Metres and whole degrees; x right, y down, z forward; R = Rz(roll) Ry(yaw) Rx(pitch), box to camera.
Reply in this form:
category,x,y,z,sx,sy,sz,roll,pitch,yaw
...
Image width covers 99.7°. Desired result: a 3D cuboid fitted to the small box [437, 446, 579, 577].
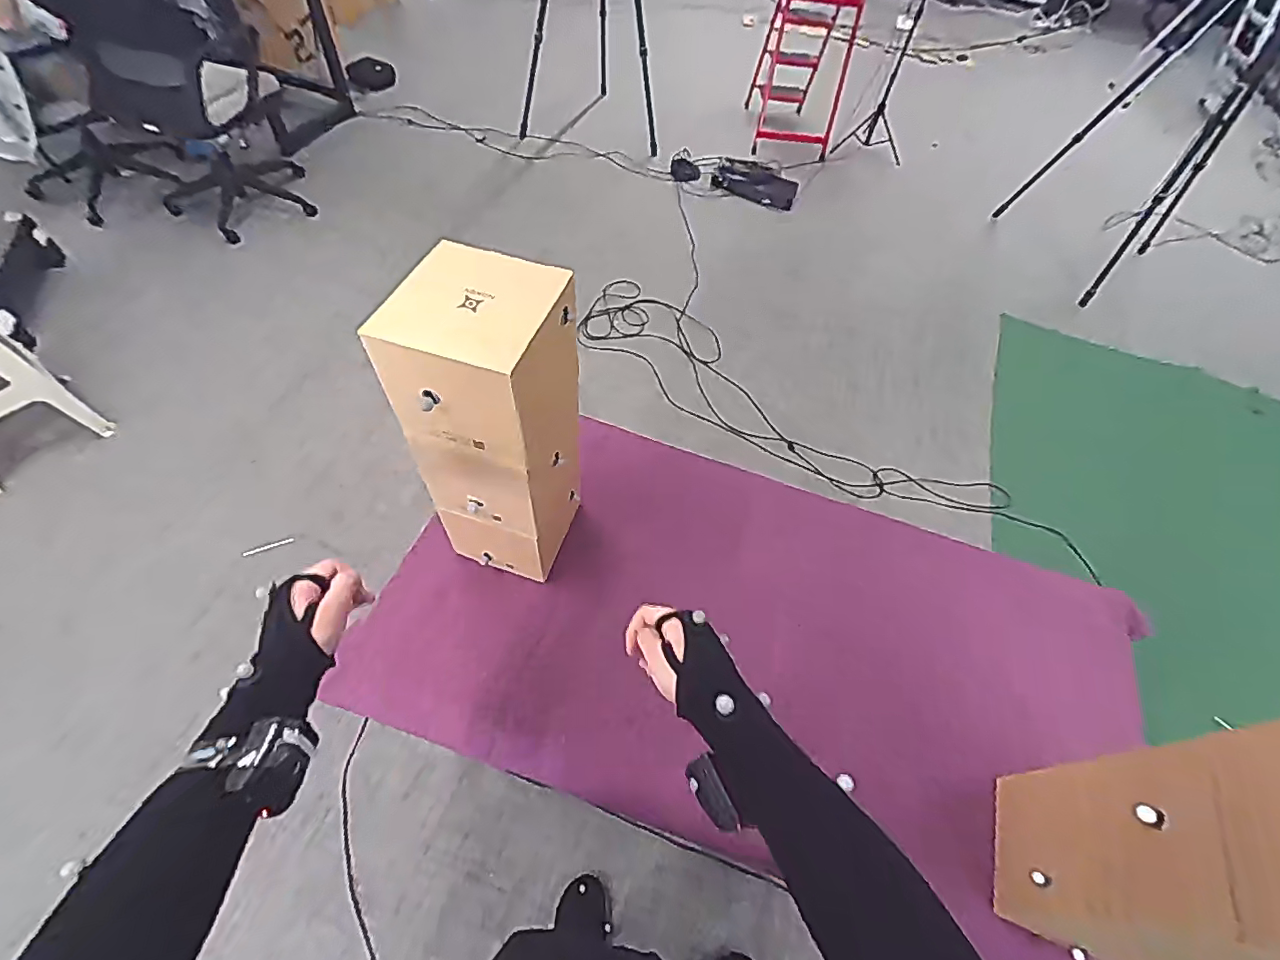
category,x,y,z,sx,sy,sz,roll,pitch,yaw
small box,-0.210,0.034,0.908,0.168,0.176,0.179,17,57,6

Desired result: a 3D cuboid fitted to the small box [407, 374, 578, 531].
category,x,y,z,sx,sy,sz,roll,pitch,yaw
small box,-0.195,-0.057,0.772,0.168,0.176,0.179,17,57,6

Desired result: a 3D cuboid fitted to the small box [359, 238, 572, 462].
category,x,y,z,sx,sy,sz,roll,pitch,yaw
small box,-0.183,-0.147,0.638,0.168,0.176,0.179,16,56,6
